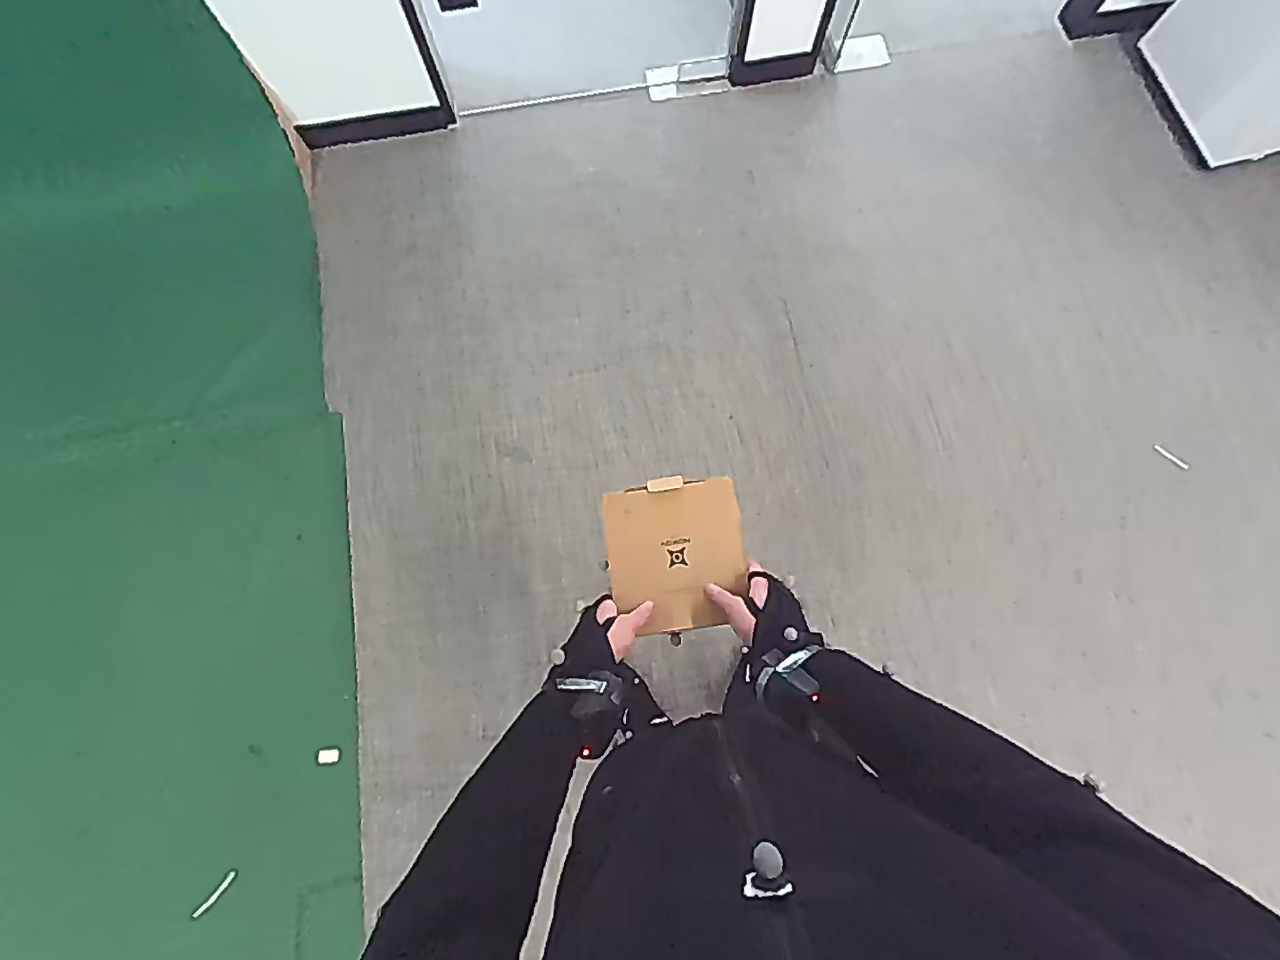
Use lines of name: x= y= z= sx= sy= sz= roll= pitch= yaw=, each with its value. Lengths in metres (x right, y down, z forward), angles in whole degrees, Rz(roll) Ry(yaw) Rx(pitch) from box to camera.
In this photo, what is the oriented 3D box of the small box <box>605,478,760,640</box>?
small box: x=0.048 y=0.110 z=0.702 sx=0.168 sy=0.176 sz=0.179 roll=-7 pitch=73 yaw=1
